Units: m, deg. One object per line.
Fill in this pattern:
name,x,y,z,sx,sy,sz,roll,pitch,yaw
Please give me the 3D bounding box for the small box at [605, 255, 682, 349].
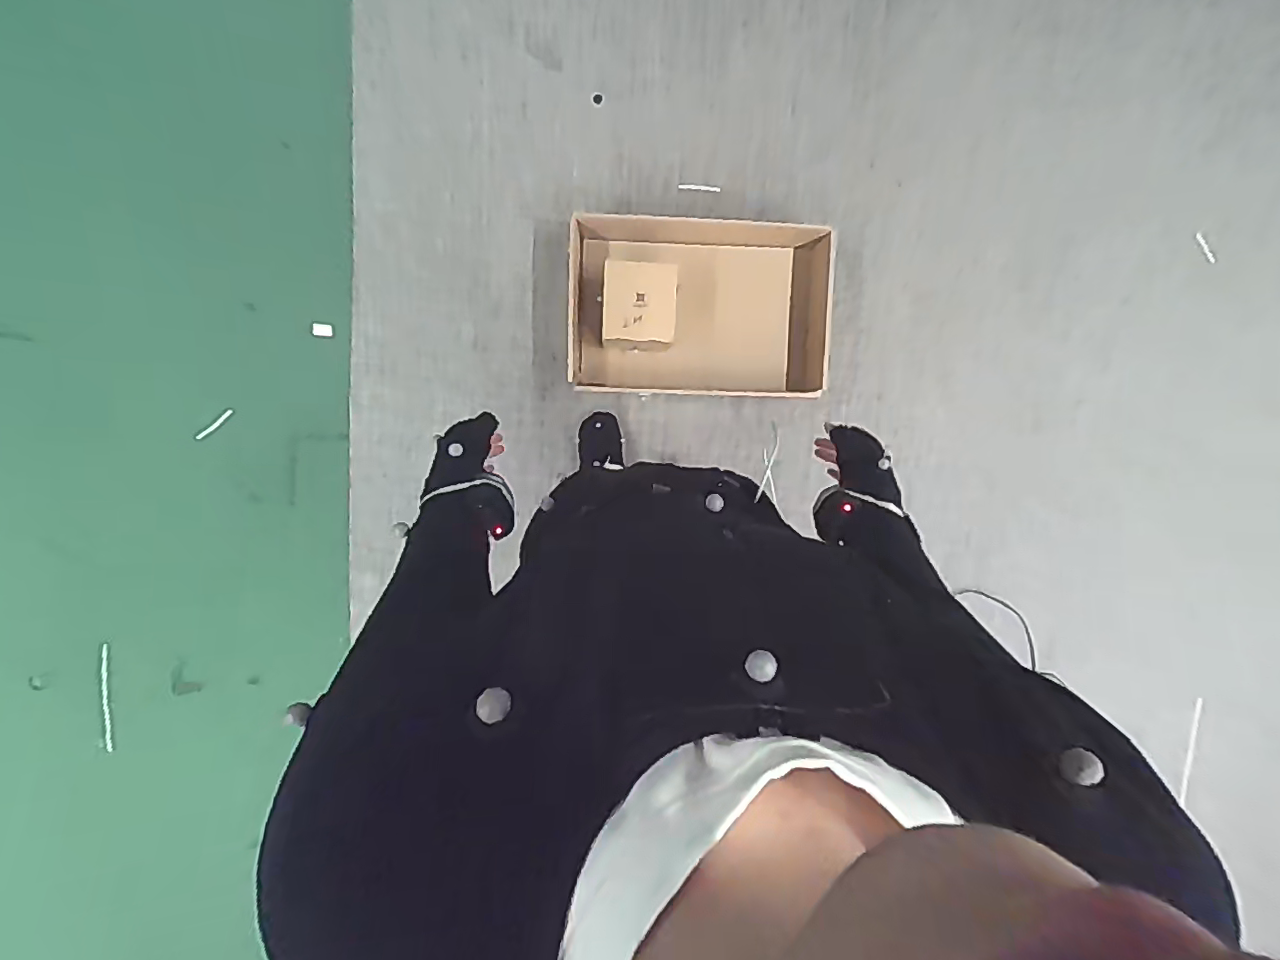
small box,0.002,-0.414,1.282,0.168,0.176,0.179,2,97,-3
